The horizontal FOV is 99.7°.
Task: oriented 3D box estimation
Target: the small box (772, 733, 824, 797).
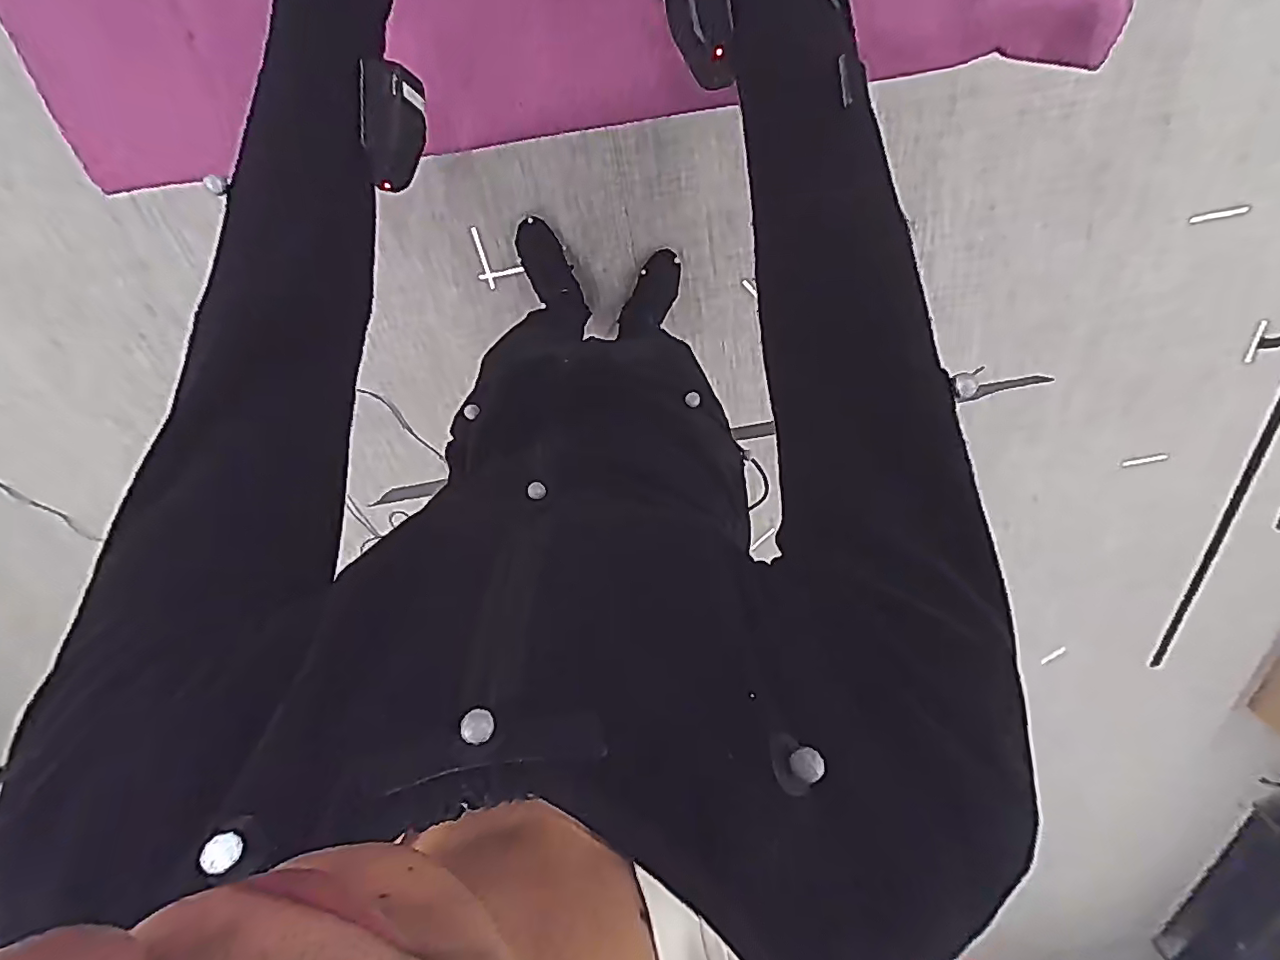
[{"bbox_3d":[0.682,1.230,2.336,0.168,0.176,0.179,-15,121,3],"label":"small box"}]
